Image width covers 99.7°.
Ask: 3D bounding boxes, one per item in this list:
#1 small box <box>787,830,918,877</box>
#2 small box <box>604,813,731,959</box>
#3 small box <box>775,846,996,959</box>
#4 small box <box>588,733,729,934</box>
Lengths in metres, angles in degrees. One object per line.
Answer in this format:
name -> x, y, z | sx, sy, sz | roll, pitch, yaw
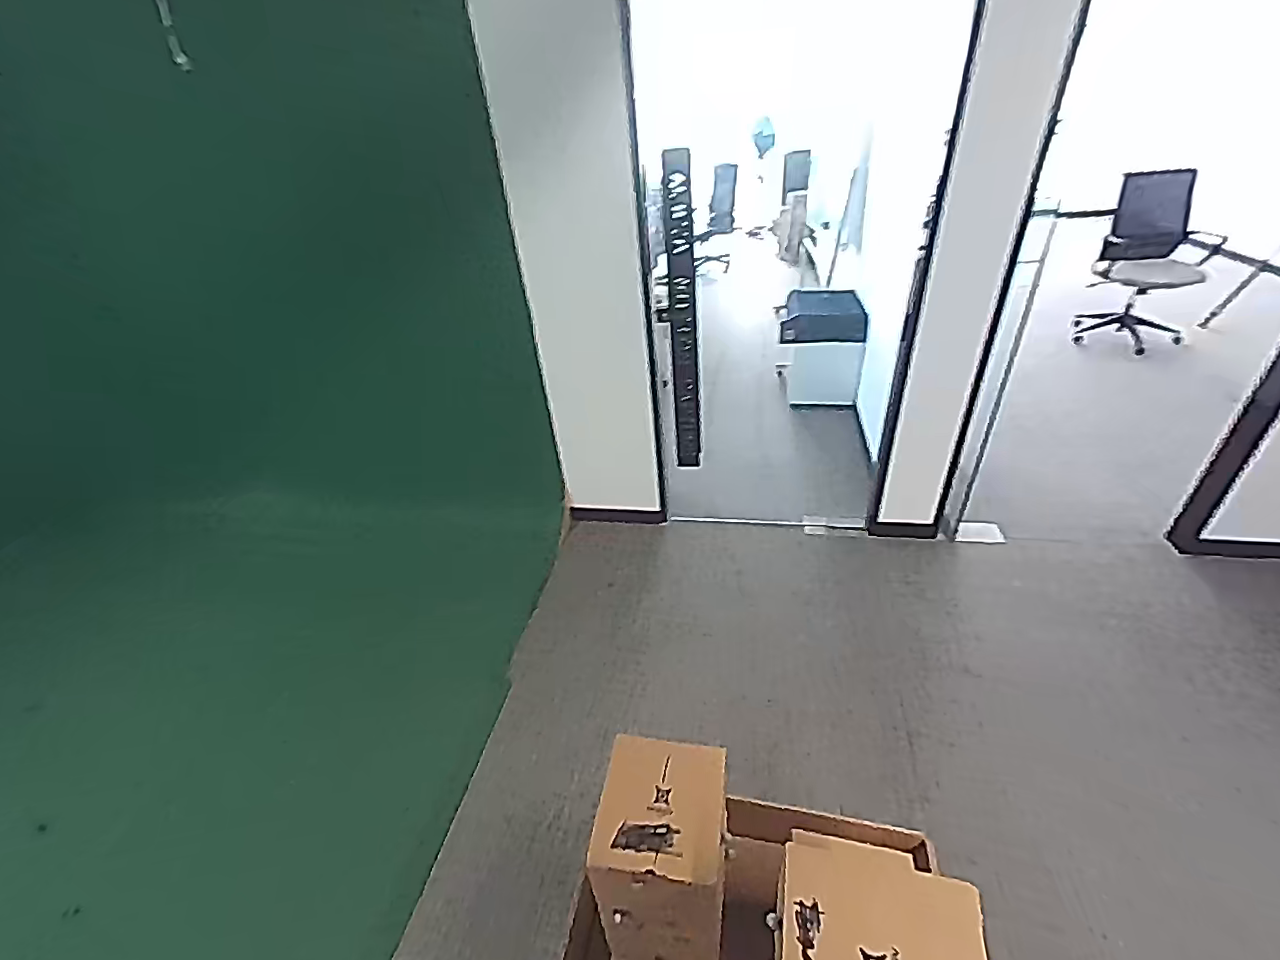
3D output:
small box -> 0.304, 0.654, 0.791 | 0.179, 0.176, 0.168 | 5, 37, 14
small box -> 0.050, 0.634, 0.847 | 0.168, 0.176, 0.179 | 4, 35, 13
small box -> 0.223, 0.485, 0.516 | 0.179, 0.176, 0.168 | 5, 44, 14
small box -> 0.036, 0.495, 0.761 | 0.168, 0.176, 0.179 | 4, 34, 11
